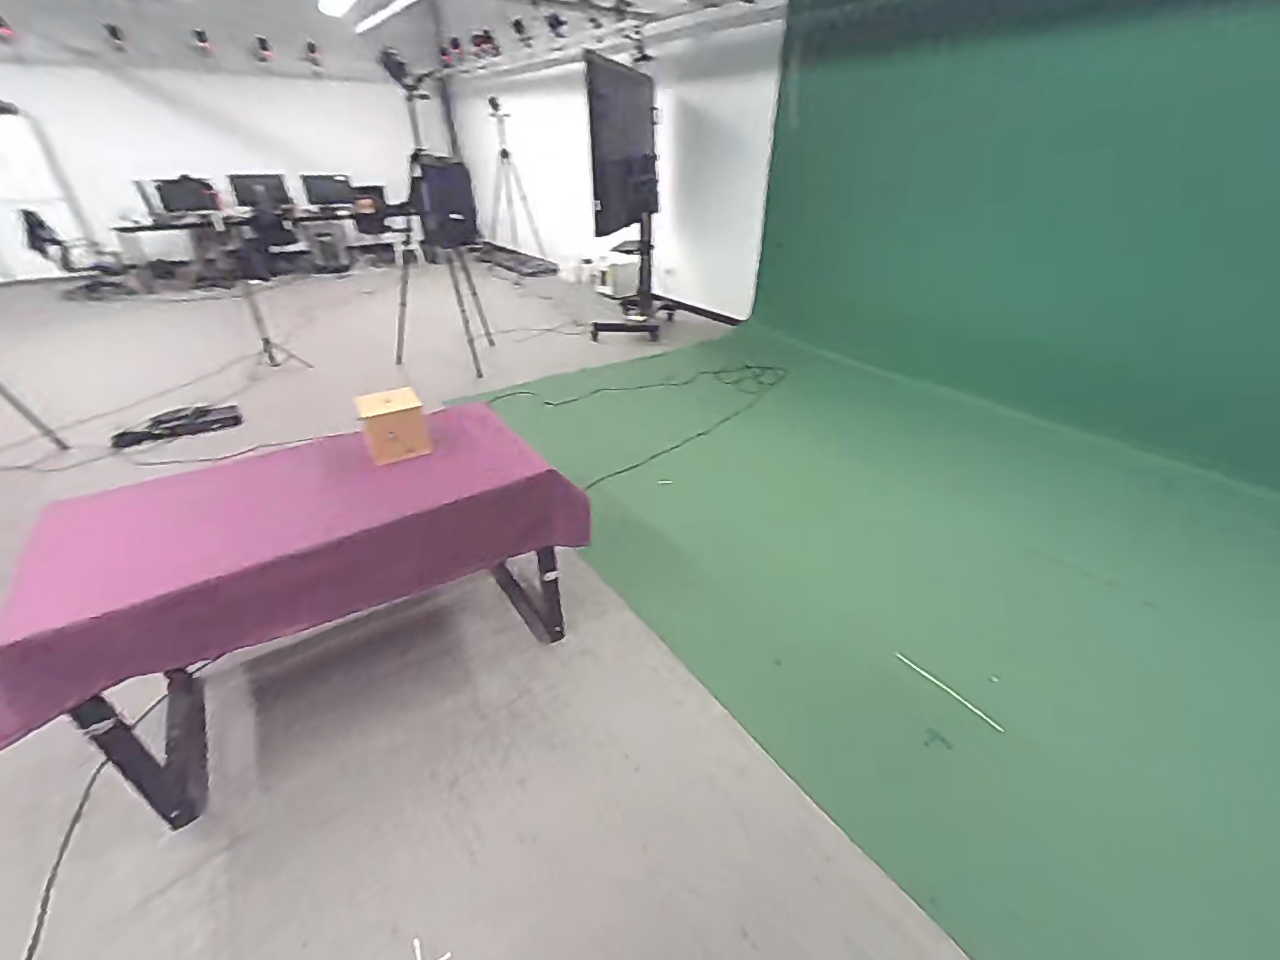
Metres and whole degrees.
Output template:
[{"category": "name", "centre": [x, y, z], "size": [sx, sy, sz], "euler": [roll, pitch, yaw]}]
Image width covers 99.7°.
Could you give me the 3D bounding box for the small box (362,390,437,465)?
[{"category": "small box", "centre": [-0.750, -0.160, 1.689], "size": [0.168, 0.176, 0.179], "euler": [-18, 35, -26]}]
